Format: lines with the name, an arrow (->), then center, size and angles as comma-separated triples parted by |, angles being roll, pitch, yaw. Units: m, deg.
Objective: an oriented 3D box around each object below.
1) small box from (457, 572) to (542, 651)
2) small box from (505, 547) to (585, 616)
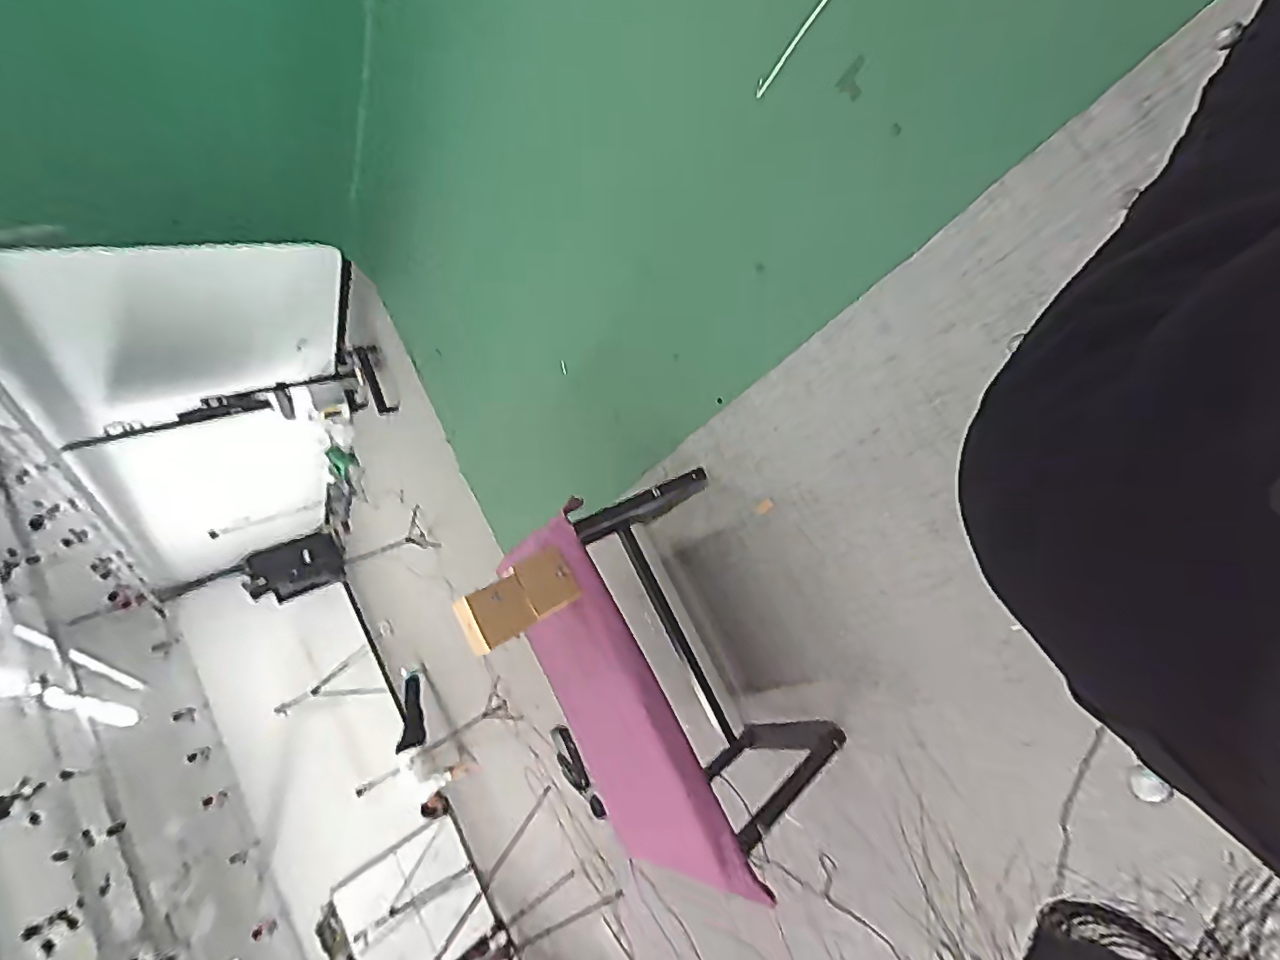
small box -> -0.427, 0.394, 1.643 | 0.168, 0.176, 0.179 | -35, 81, 52
small box -> -0.308, 0.331, 1.737 | 0.179, 0.176, 0.168 | 59, 142, 11
